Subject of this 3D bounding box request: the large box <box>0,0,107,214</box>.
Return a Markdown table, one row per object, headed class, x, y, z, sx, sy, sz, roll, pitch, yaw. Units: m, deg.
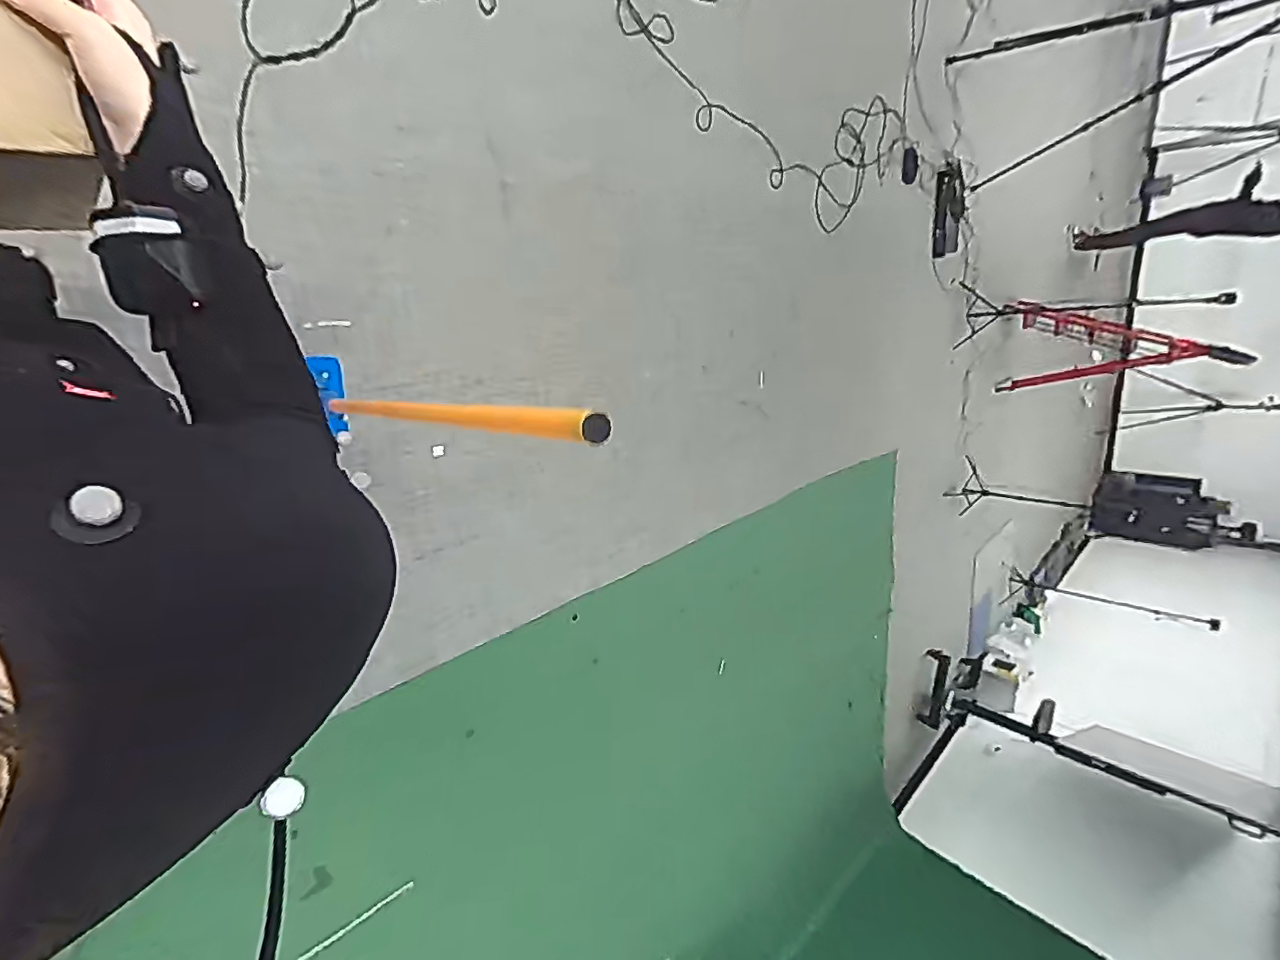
| class | x | y | z | sx | sy | sz | roll | pitch | yaw |
| --- | --- | --- | --- | --- | --- | --- | --- | --- | --- |
| large box | -0.620 | -0.338 | 0.284 | 0.408 | 0.320 | 0.320 | -24 | 117 | -44 |
